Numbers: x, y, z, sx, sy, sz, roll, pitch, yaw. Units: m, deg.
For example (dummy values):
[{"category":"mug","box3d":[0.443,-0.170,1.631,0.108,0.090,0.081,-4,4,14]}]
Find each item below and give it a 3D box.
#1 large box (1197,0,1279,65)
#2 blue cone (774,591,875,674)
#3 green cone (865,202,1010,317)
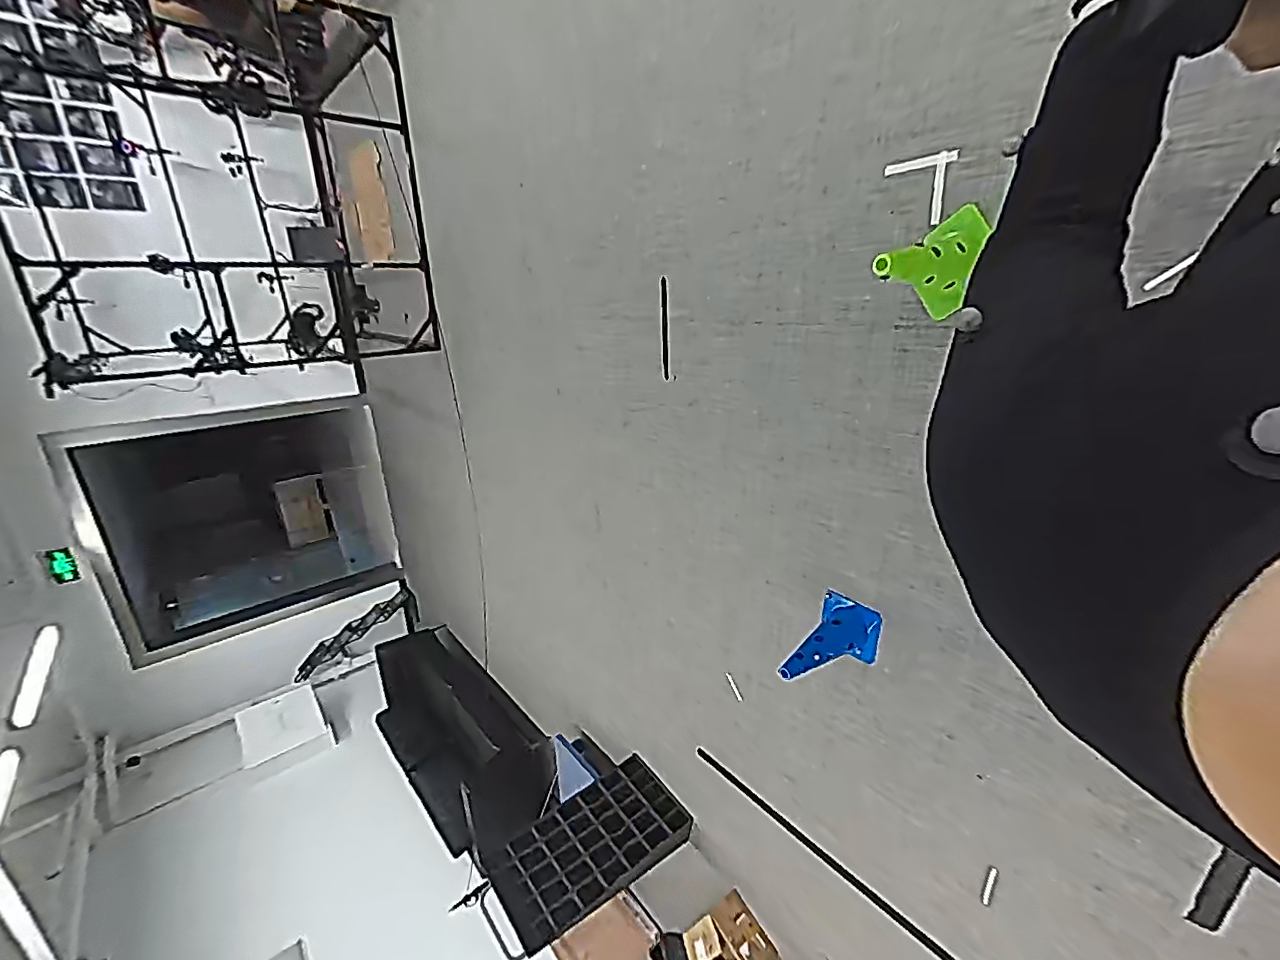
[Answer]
[{"category":"large box","box3d":[0.586,-0.468,0.251,0.408,0.320,0.320,18,121,48]},{"category":"blue cone","box3d":[0.565,0.523,1.717,0.192,0.380,0.193,26,123,46]},{"category":"green cone","box3d":[0.623,-0.490,1.214,0.202,0.368,0.200,-38,72,53]}]
